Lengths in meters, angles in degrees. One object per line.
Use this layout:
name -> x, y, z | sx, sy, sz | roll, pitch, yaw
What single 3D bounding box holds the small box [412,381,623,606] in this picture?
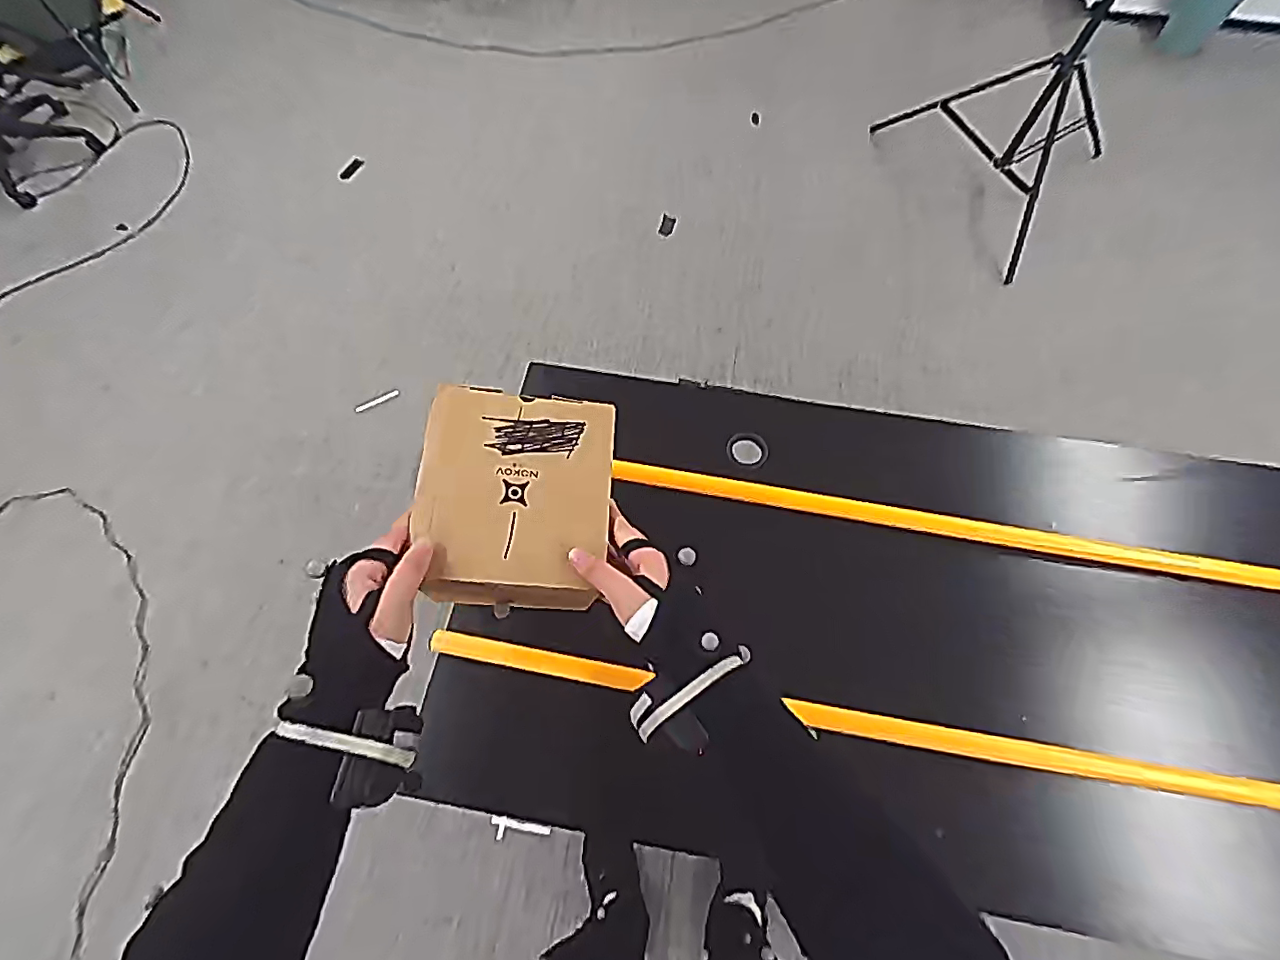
small box -> -0.116, 0.026, 0.544 | 0.168, 0.176, 0.179 | 6, 71, -10
